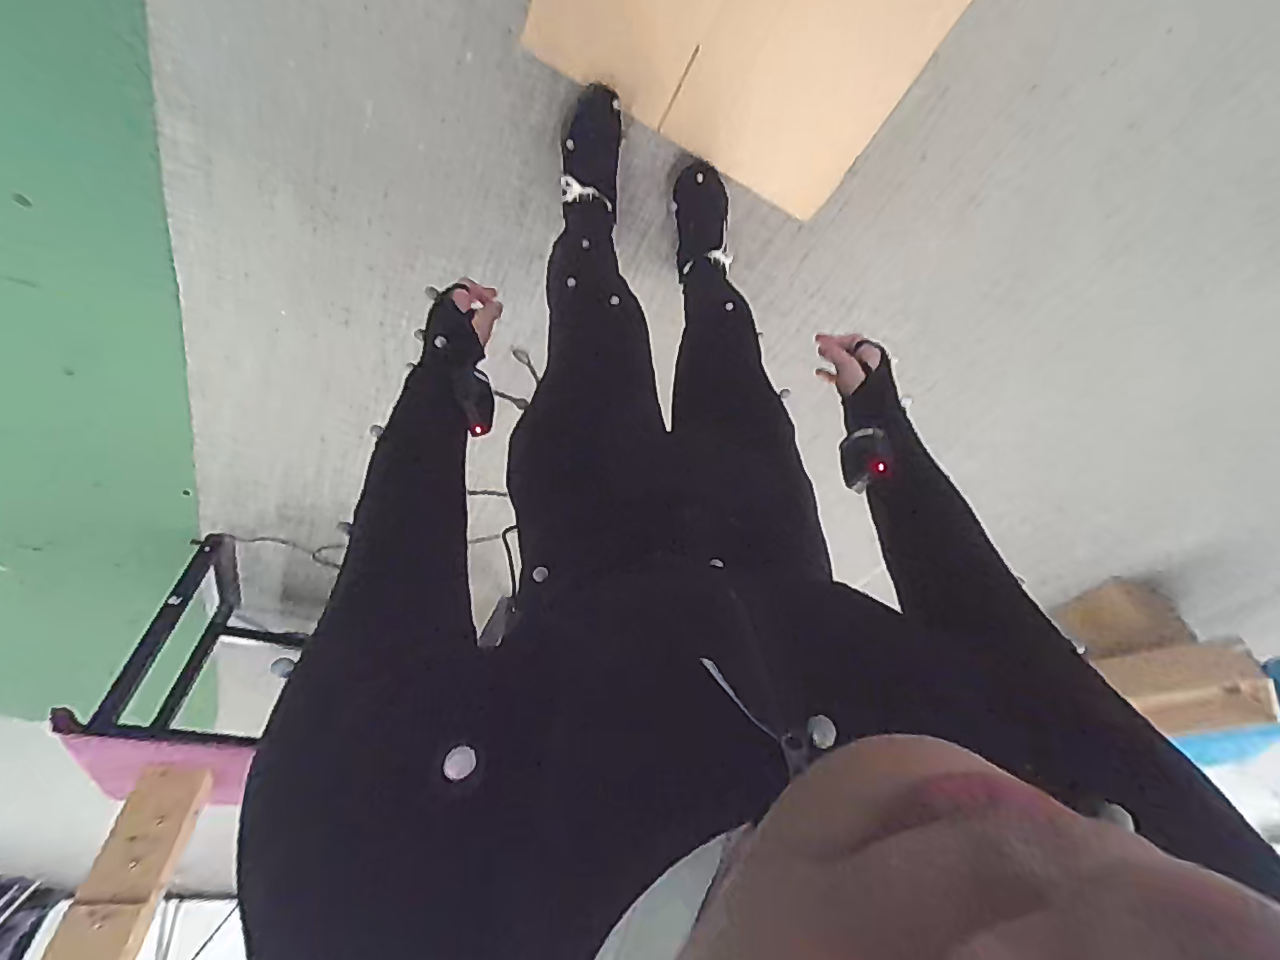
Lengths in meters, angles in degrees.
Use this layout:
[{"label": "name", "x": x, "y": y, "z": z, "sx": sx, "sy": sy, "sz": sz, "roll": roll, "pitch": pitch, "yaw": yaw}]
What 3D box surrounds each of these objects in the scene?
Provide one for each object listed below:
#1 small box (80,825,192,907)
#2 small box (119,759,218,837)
[{"label": "small box", "x": -1.406, "y": 1.086, "z": 1.523, "sx": 0.168, "sy": 0.176, "sz": 0.179, "roll": 18, "pitch": 133, "yaw": -20}, {"label": "small box", "x": -1.411, "y": 0.964, "z": 1.634, "sx": 0.168, "sy": 0.176, "sz": 0.179, "roll": 16, "pitch": 135, "yaw": -20}]
